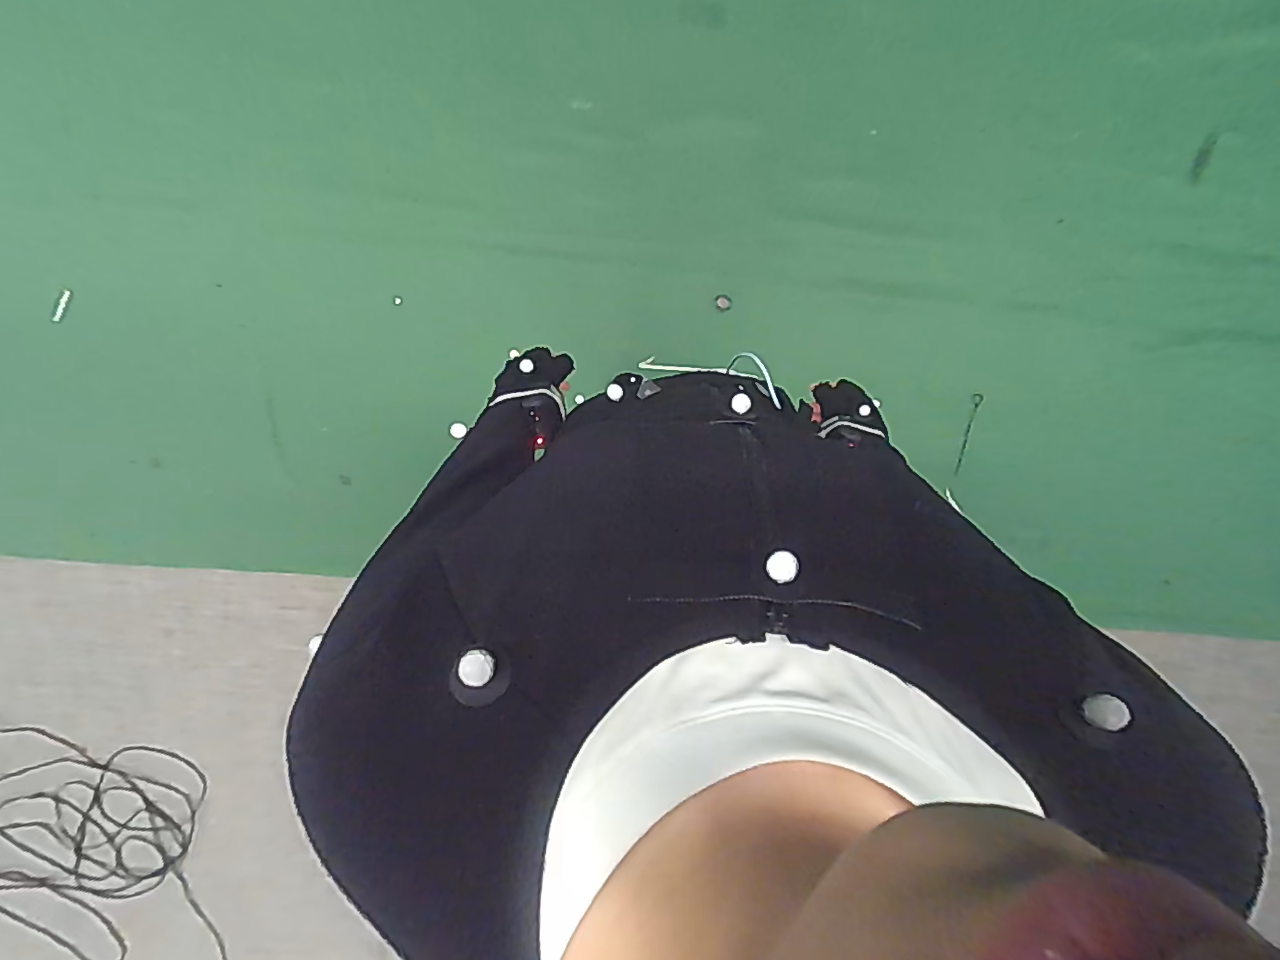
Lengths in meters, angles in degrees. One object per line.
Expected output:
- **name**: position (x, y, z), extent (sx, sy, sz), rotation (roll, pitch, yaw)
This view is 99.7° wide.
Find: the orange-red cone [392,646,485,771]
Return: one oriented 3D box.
- **orange-red cone**: position (-0.553, 0.619, 1.414), extent (0.198, 0.360, 0.199), rotation (5, 102, -1)
